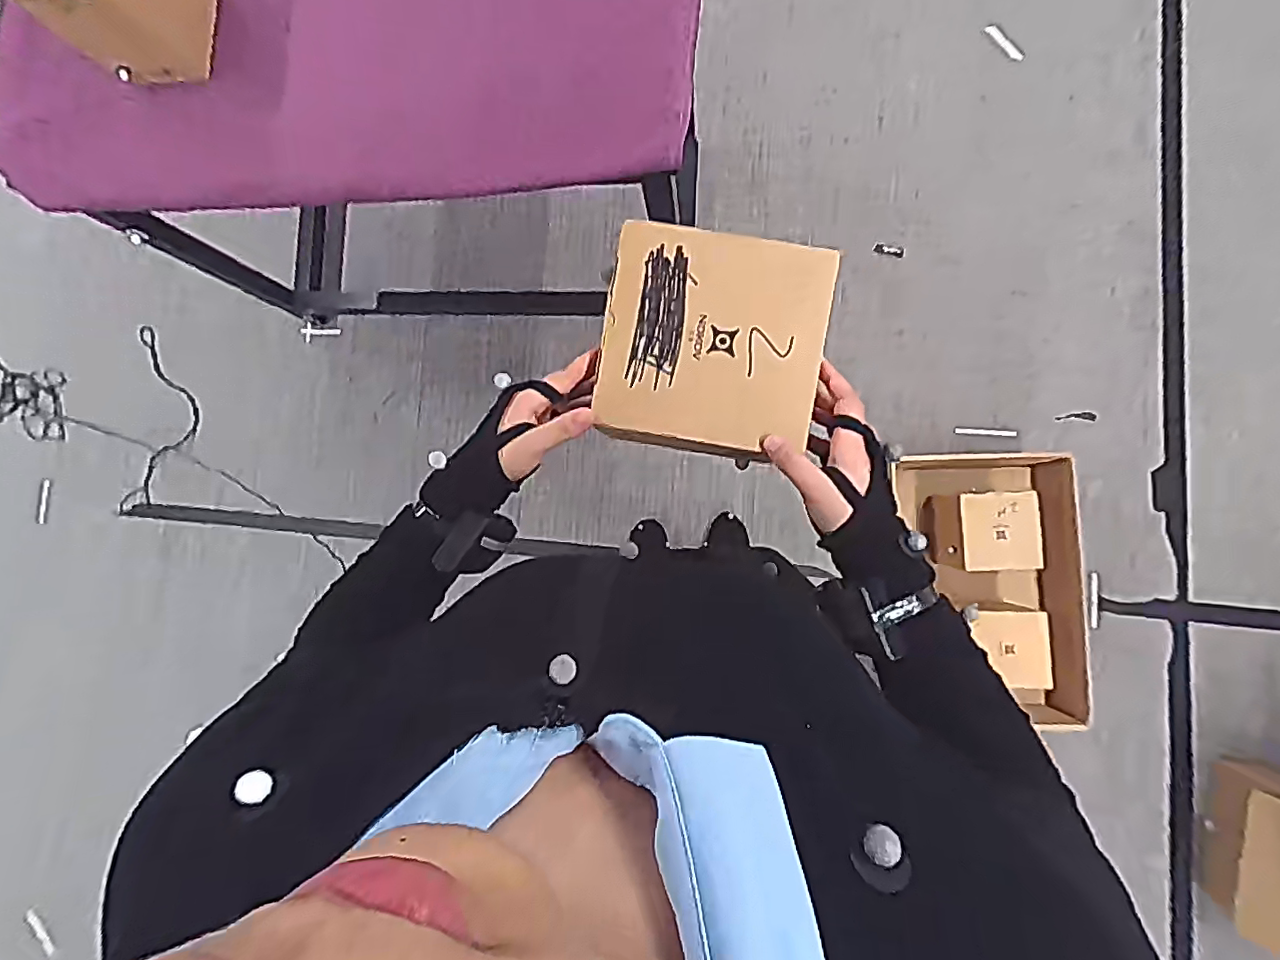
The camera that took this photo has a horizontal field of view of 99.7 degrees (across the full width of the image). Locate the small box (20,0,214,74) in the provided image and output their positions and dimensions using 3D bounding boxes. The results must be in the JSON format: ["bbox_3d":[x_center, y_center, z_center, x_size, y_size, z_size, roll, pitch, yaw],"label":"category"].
[{"bbox_3d":[-0.826,-0.786,0.860,0.168,0.176,0.179,3,86,6],"label":"small box"}]

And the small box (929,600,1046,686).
[{"bbox_3d":[0.809,0.376,1.271,0.179,0.176,0.168,-1,85,7],"label":"small box"}]

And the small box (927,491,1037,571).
[{"bbox_3d":[0.806,0.116,1.288,0.168,0.176,0.179,-3,87,6],"label":"small box"}]
